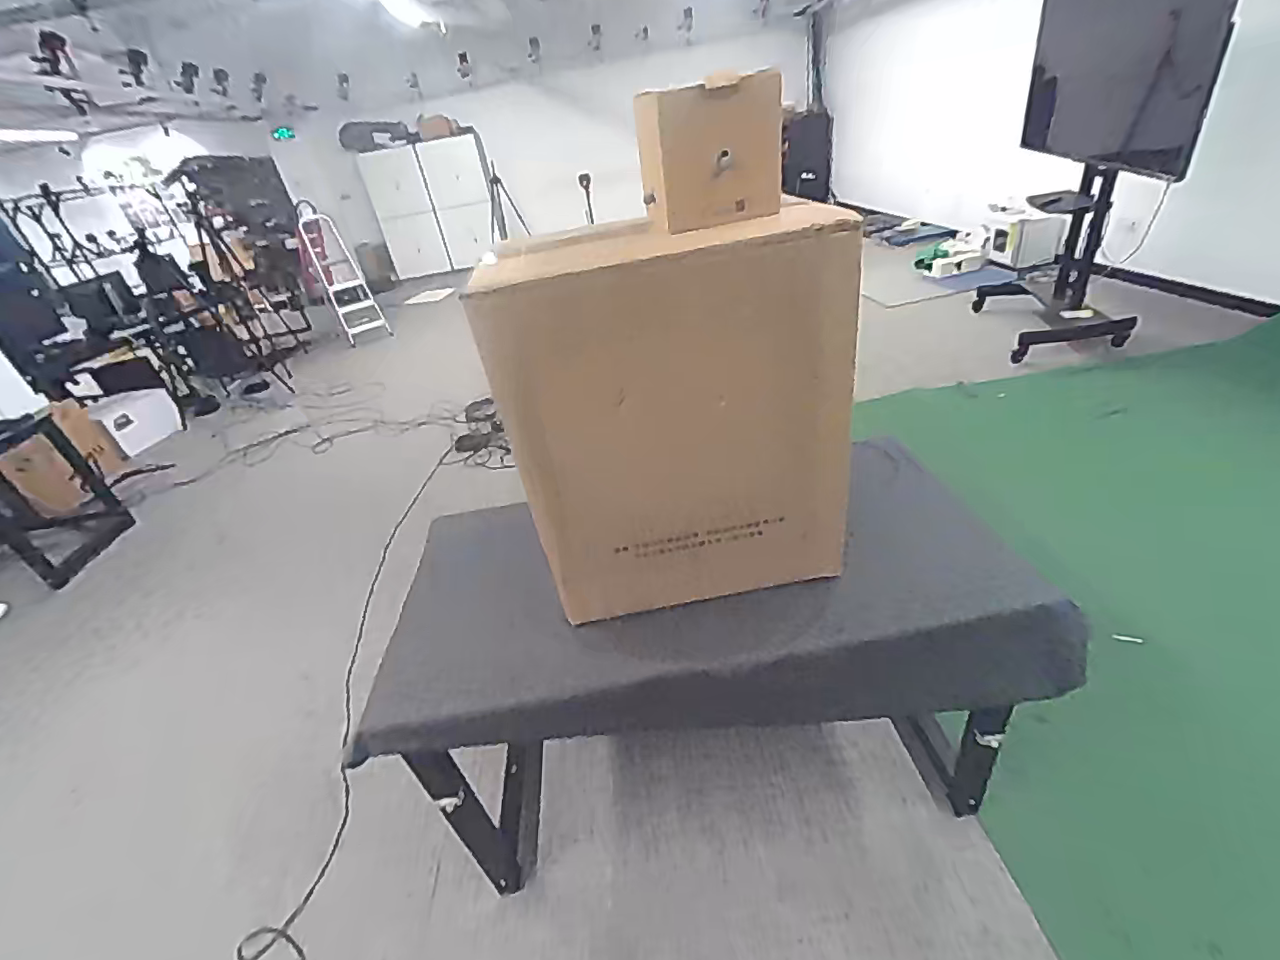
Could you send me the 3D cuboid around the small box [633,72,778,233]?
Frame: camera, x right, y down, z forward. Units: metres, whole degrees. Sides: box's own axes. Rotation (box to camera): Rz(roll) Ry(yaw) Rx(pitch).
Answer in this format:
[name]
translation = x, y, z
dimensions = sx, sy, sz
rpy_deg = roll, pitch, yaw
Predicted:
[small box]
translation = 0.095, -0.471, 0.786
dimensions = 0.168, 0.176, 0.179
rpy_deg = -13, 36, -3
